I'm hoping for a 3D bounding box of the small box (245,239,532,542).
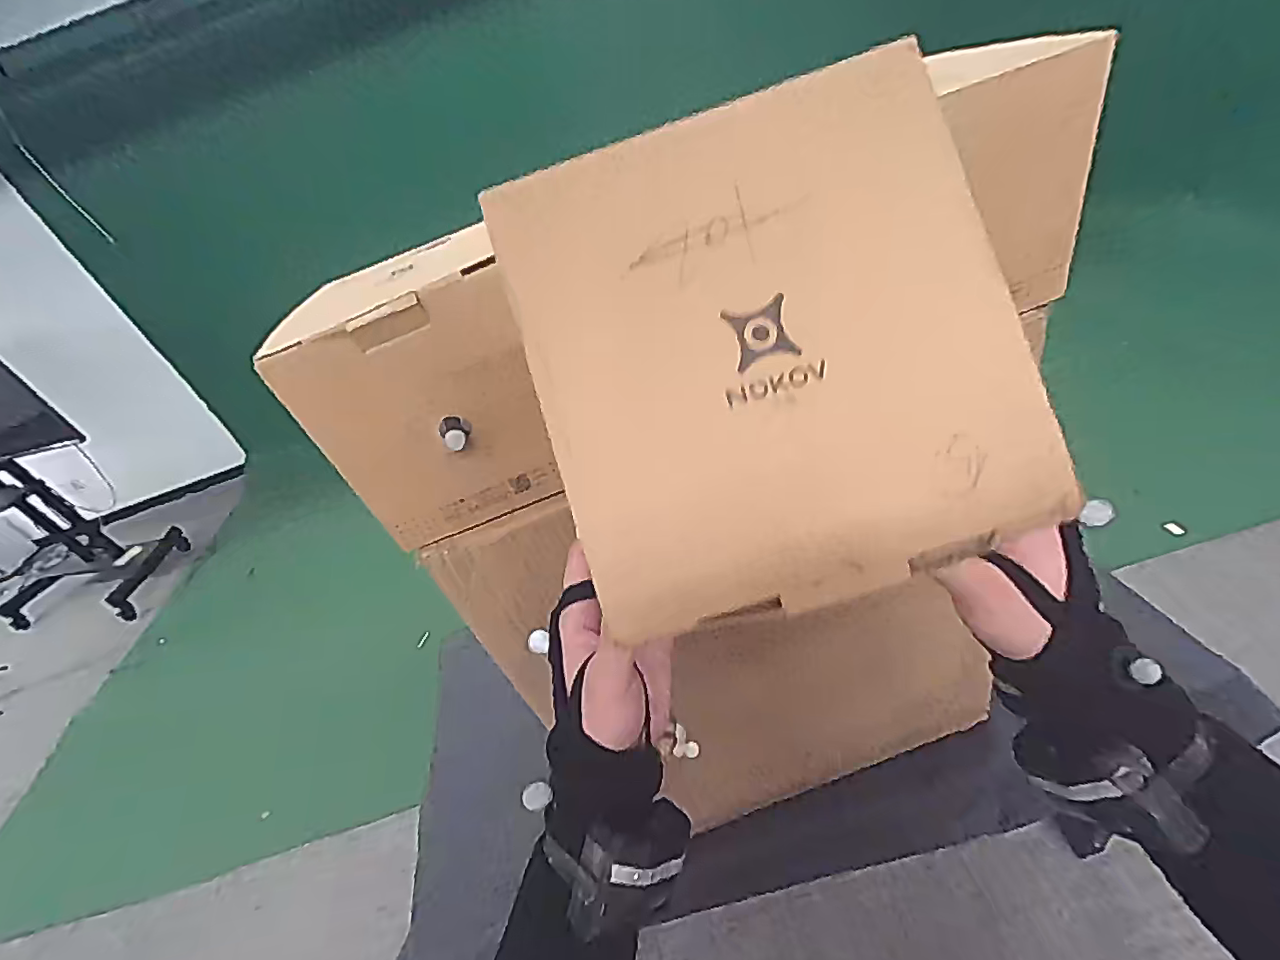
[{"bbox_3d":[-0.149,-0.073,0.428,0.168,0.176,0.179,-22,36,0],"label":"small box"}]

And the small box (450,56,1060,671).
[{"bbox_3d":[0.040,-0.035,0.264,0.168,0.179,0.176,-19,-6,4],"label":"small box"}]

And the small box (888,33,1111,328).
[{"bbox_3d":[0.202,-0.215,0.428,0.168,0.176,0.179,-21,37,-1],"label":"small box"}]
